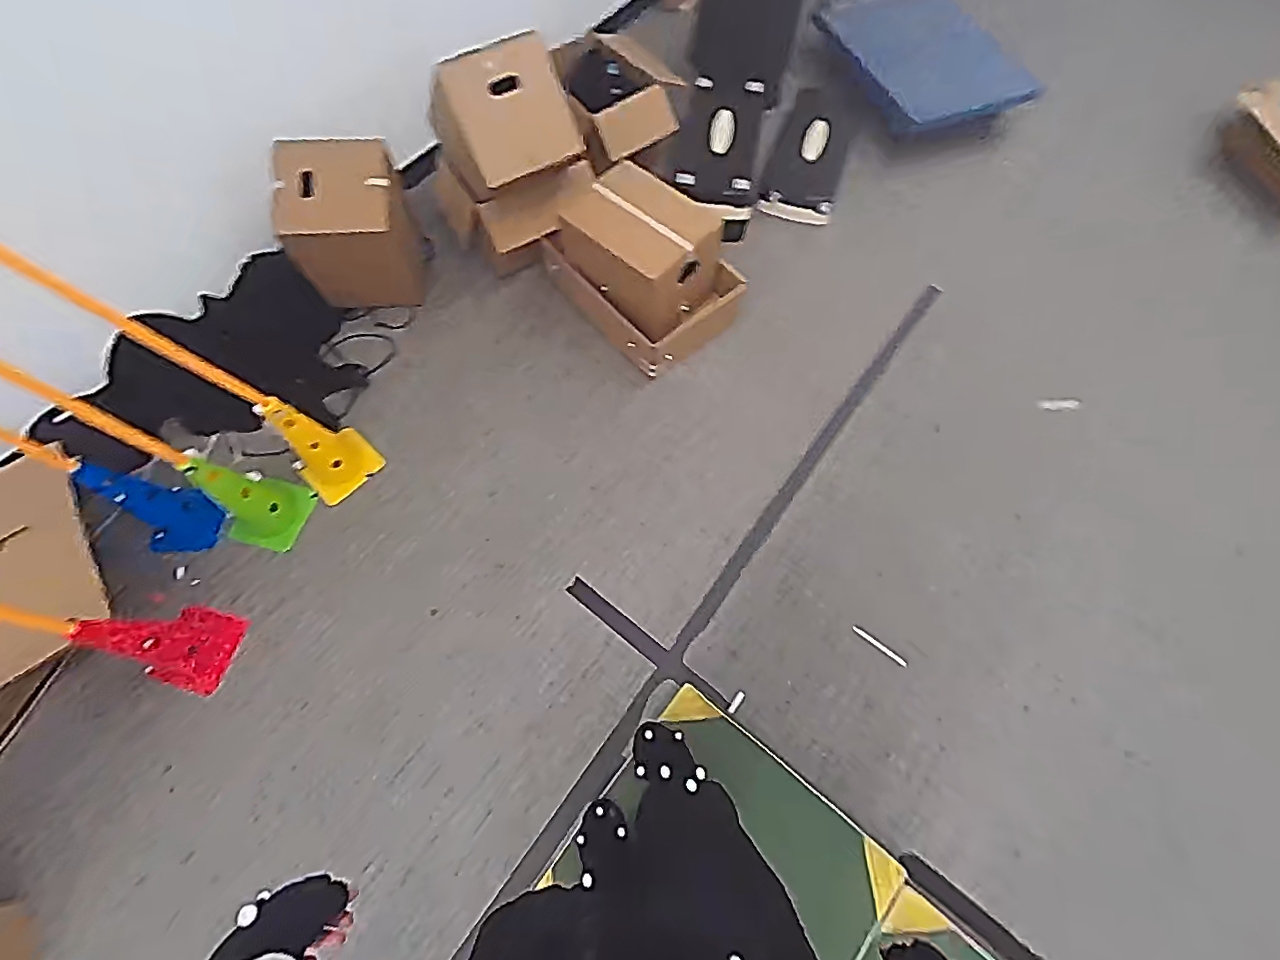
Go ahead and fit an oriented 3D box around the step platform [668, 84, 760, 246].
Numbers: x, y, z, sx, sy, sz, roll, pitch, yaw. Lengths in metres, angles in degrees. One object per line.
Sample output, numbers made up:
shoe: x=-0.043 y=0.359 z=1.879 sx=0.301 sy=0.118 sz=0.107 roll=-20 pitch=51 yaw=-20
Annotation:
step platform: x=0.291 y=-1.223 z=2.075 sx=0.286 sy=0.204 sz=0.684 roll=8 pitch=67 yaw=4
